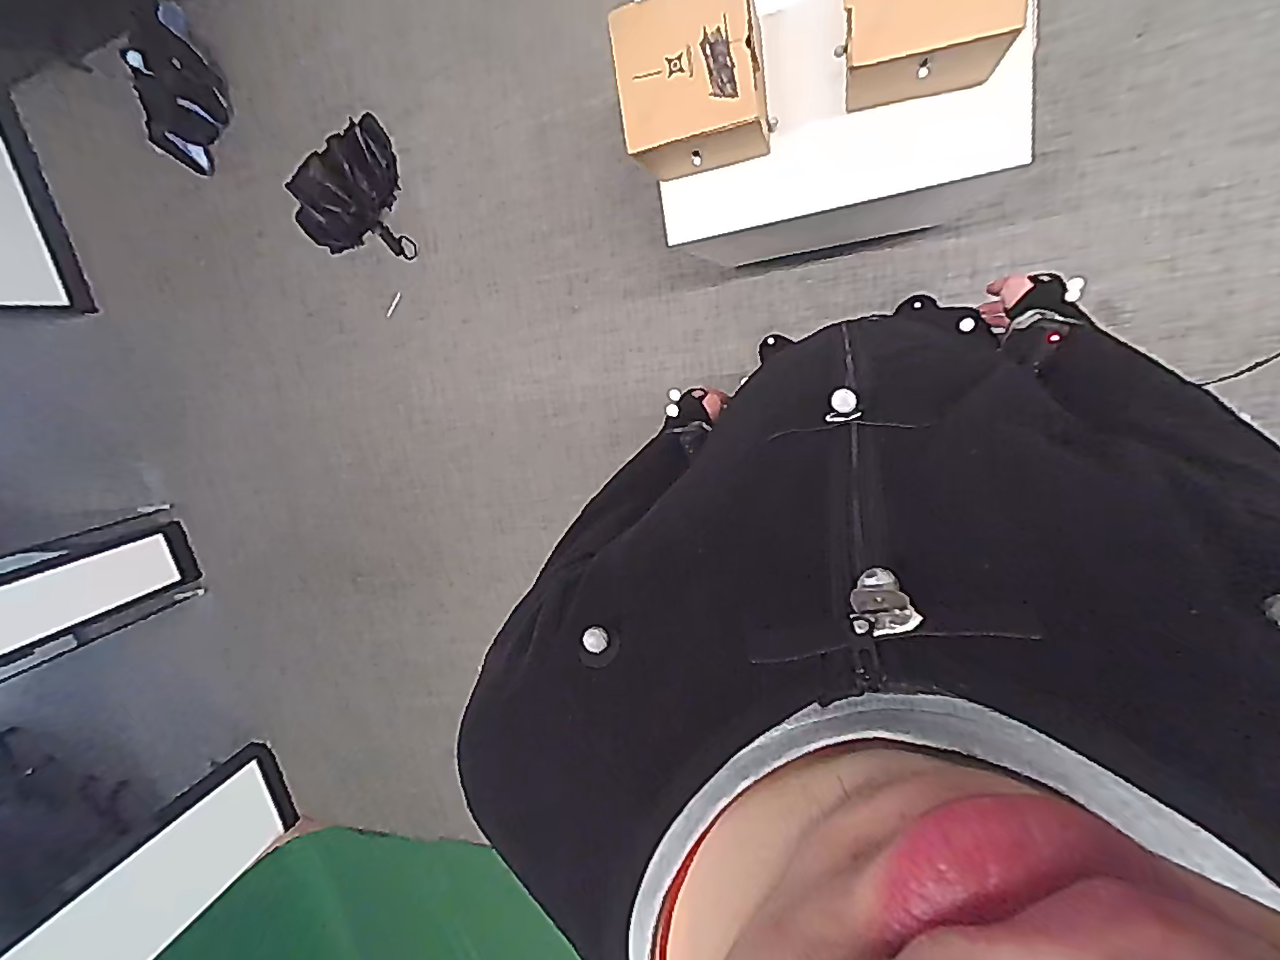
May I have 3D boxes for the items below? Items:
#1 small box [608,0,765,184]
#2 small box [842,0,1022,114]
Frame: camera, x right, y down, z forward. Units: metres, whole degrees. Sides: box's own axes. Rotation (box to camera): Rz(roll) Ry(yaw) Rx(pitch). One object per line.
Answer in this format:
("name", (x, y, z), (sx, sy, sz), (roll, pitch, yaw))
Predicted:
("small box", (0.076, -0.533, 0.748), (0.179, 0.176, 0.168), (-4, 105, 21))
("small box", (0.337, -0.569, 0.648), (0.179, 0.176, 0.168), (0, 108, 19))
